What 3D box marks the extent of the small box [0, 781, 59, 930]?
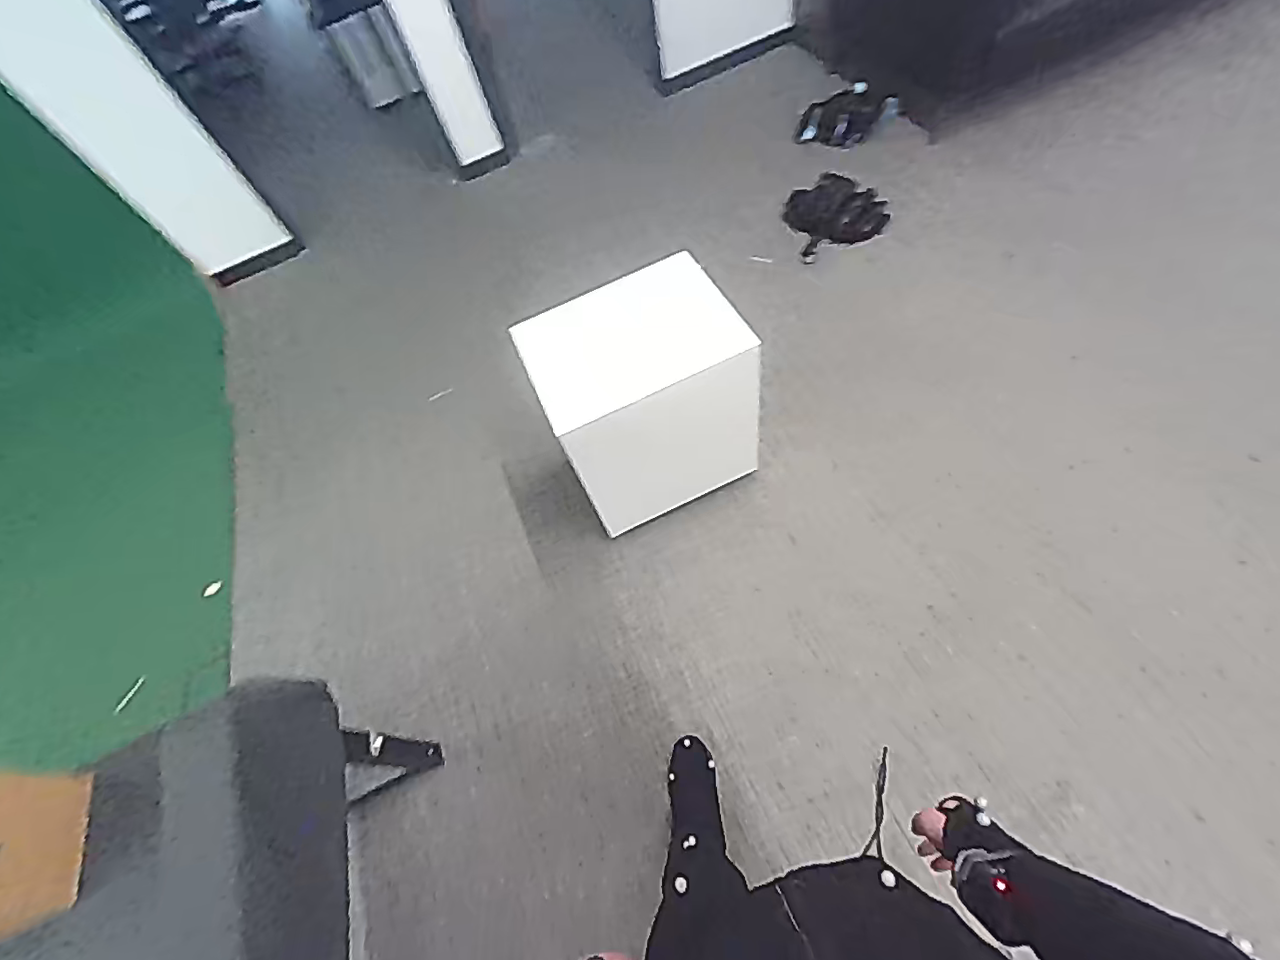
[{"bbox_3d":[-0.913,0.503,0.688,0.168,0.176,0.179,-24,57,-5],"label":"small box"}]
